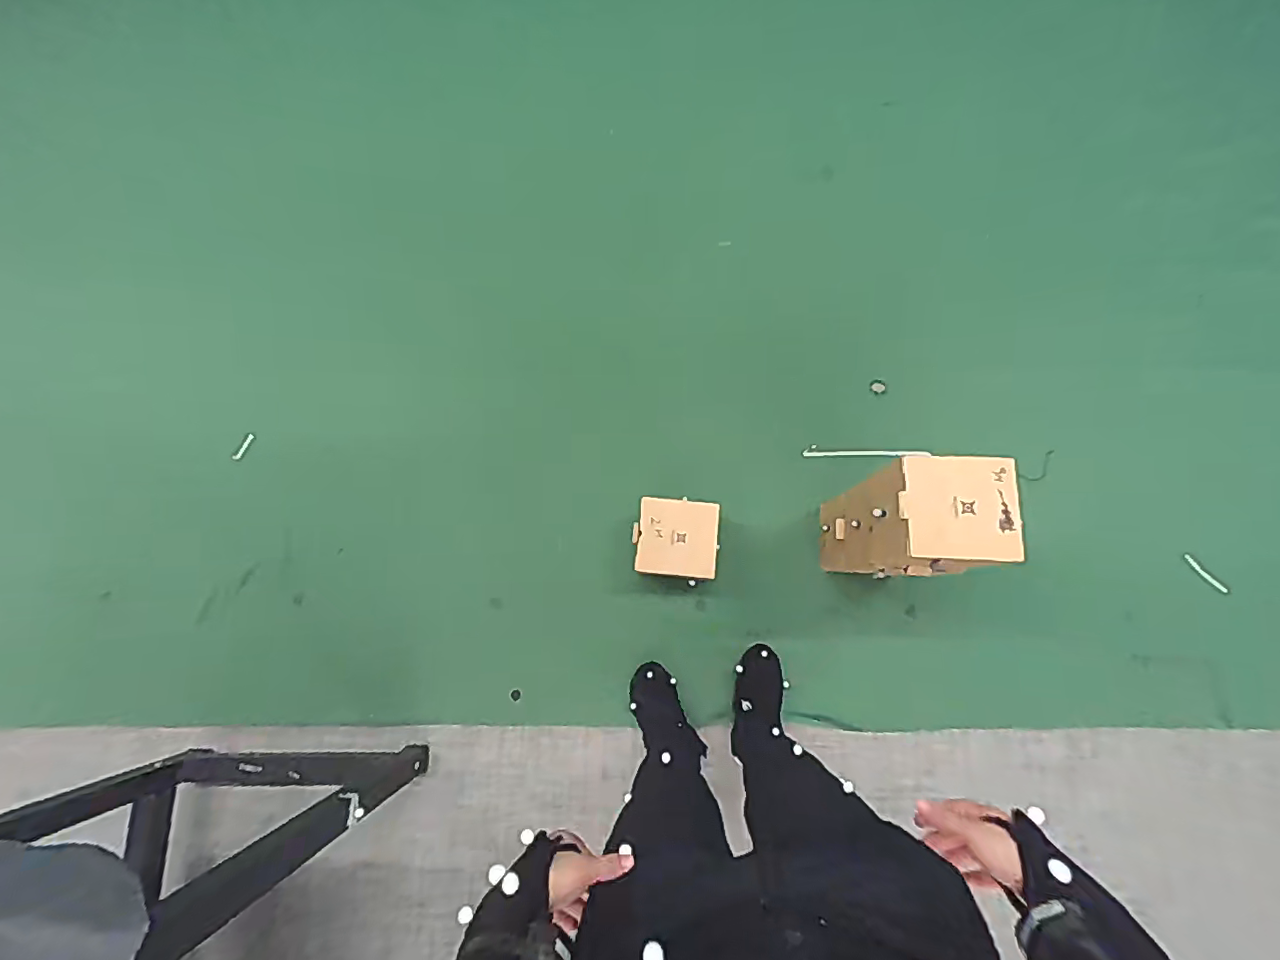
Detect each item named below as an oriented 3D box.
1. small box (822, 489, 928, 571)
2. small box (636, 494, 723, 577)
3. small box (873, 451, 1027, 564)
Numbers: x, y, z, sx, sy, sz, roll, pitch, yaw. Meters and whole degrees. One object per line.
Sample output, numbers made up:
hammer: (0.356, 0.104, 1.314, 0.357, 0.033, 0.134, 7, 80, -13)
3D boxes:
small box: (0.531, 0.119, 1.237, 0.179, 0.176, 0.168, 3, 80, 3)
small box: (0.089, 0.133, 1.249, 0.179, 0.176, 0.168, 5, 79, 4)
small box: (0.507, 0.053, 0.916, 0.179, 0.176, 0.168, 2, 78, 3)
